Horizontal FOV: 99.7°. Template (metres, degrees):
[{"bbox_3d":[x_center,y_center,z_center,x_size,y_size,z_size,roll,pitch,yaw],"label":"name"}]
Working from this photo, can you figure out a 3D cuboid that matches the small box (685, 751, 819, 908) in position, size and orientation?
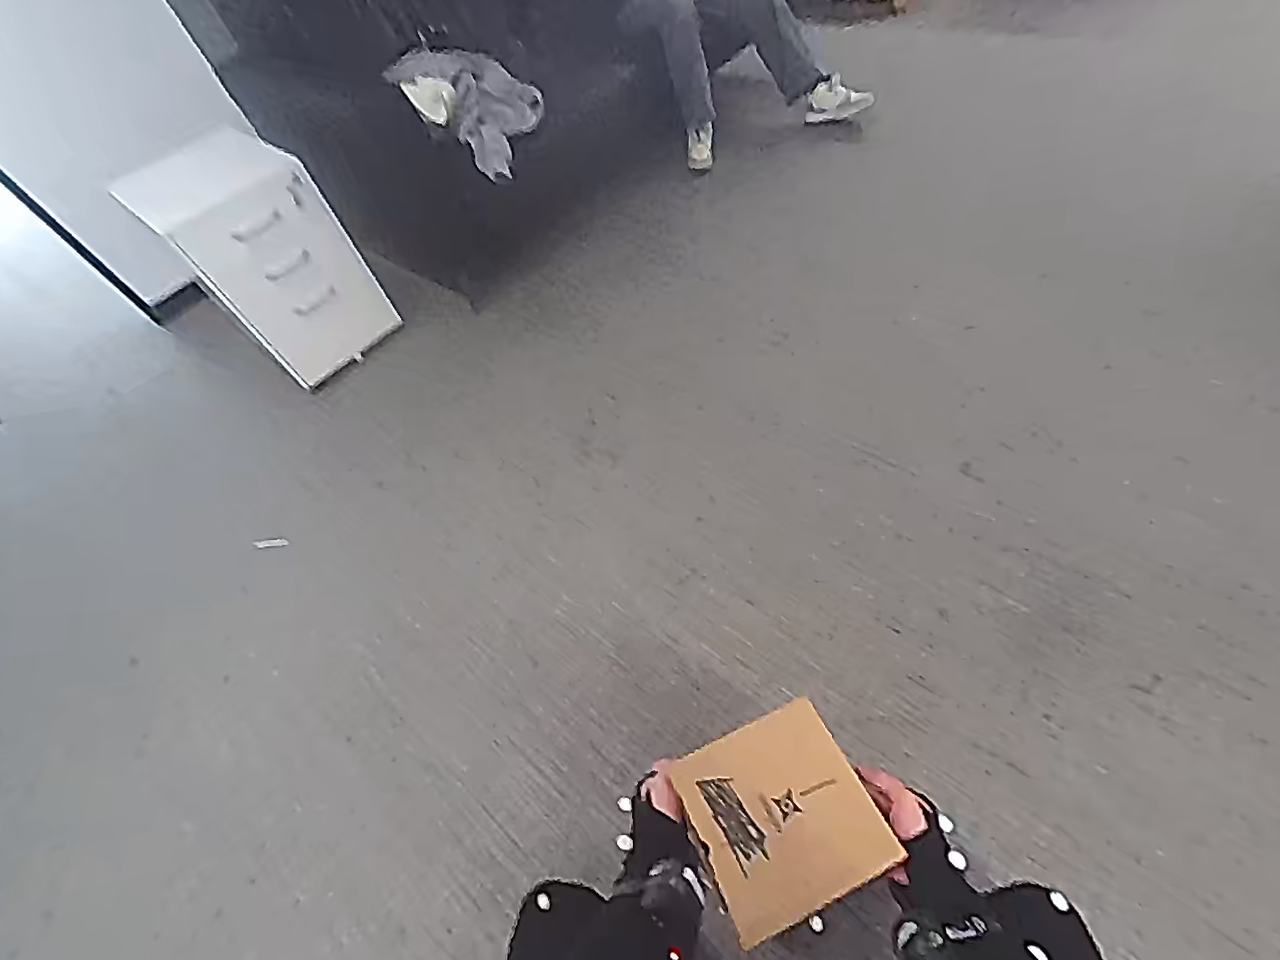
[{"bbox_3d":[0.187,0.567,0.876,0.179,0.176,0.168,7,54,20],"label":"small box"}]
